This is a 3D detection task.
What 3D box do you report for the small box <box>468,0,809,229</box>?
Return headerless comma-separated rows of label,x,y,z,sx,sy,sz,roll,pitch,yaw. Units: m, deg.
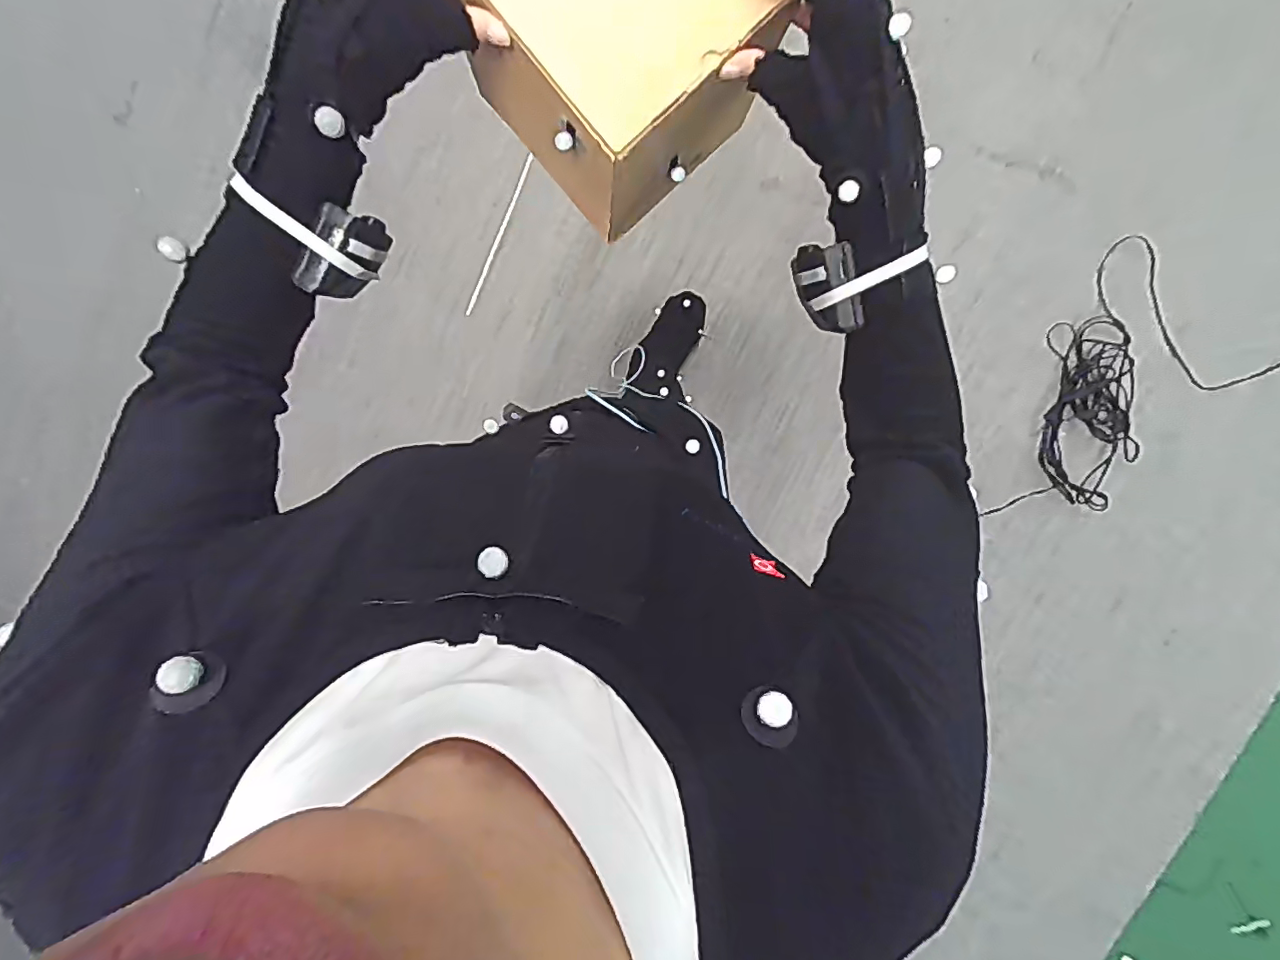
small box,-0.016,-0.332,0.411,0.168,0.176,0.179,-41,100,-1
